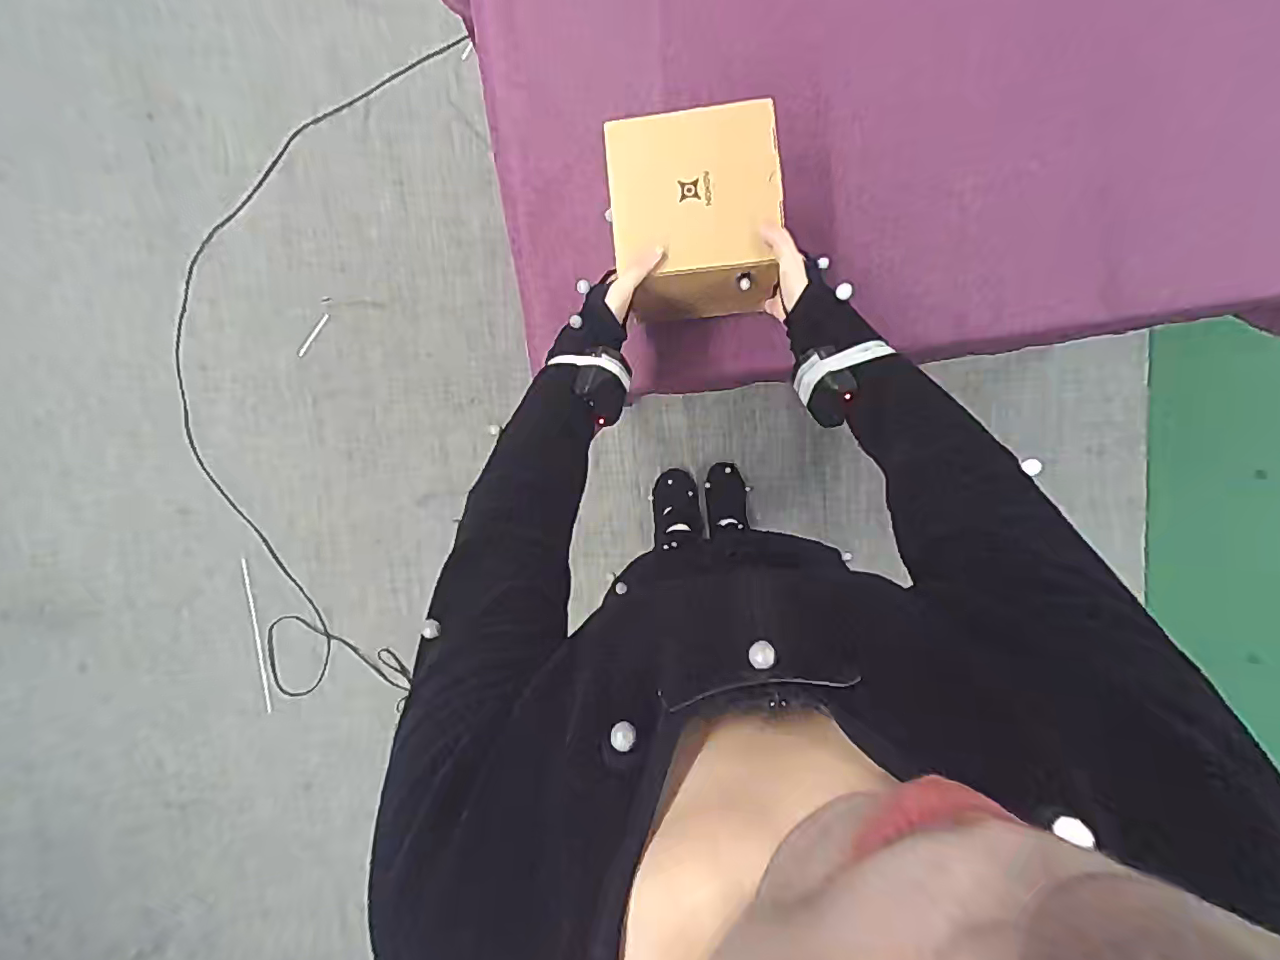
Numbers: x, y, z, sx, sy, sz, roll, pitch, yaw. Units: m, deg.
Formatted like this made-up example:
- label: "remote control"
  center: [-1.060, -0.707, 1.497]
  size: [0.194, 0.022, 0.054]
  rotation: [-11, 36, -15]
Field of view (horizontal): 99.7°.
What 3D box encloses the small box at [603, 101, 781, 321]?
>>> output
- label: "small box"
  center: [0.061, -0.297, 0.636]
  size: [0.179, 0.176, 0.168]
  rotation: [-5, 89, 6]
